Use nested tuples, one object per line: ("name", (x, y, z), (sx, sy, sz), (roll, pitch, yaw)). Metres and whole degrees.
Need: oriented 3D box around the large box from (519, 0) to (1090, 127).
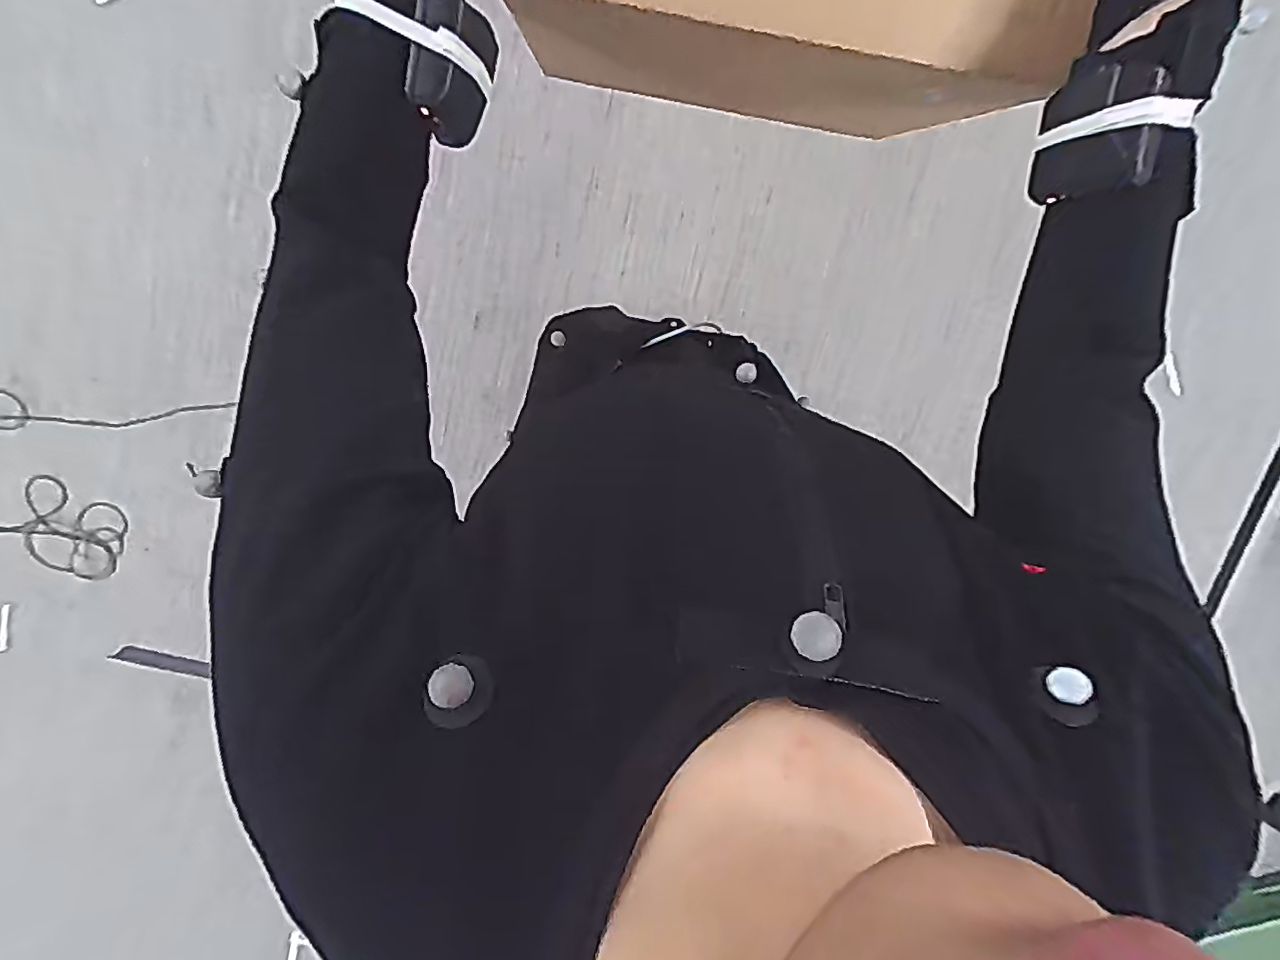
("large box", (0.117, -0.509, 0.432), (0.408, 0.320, 0.320), (6, 117, -7))
